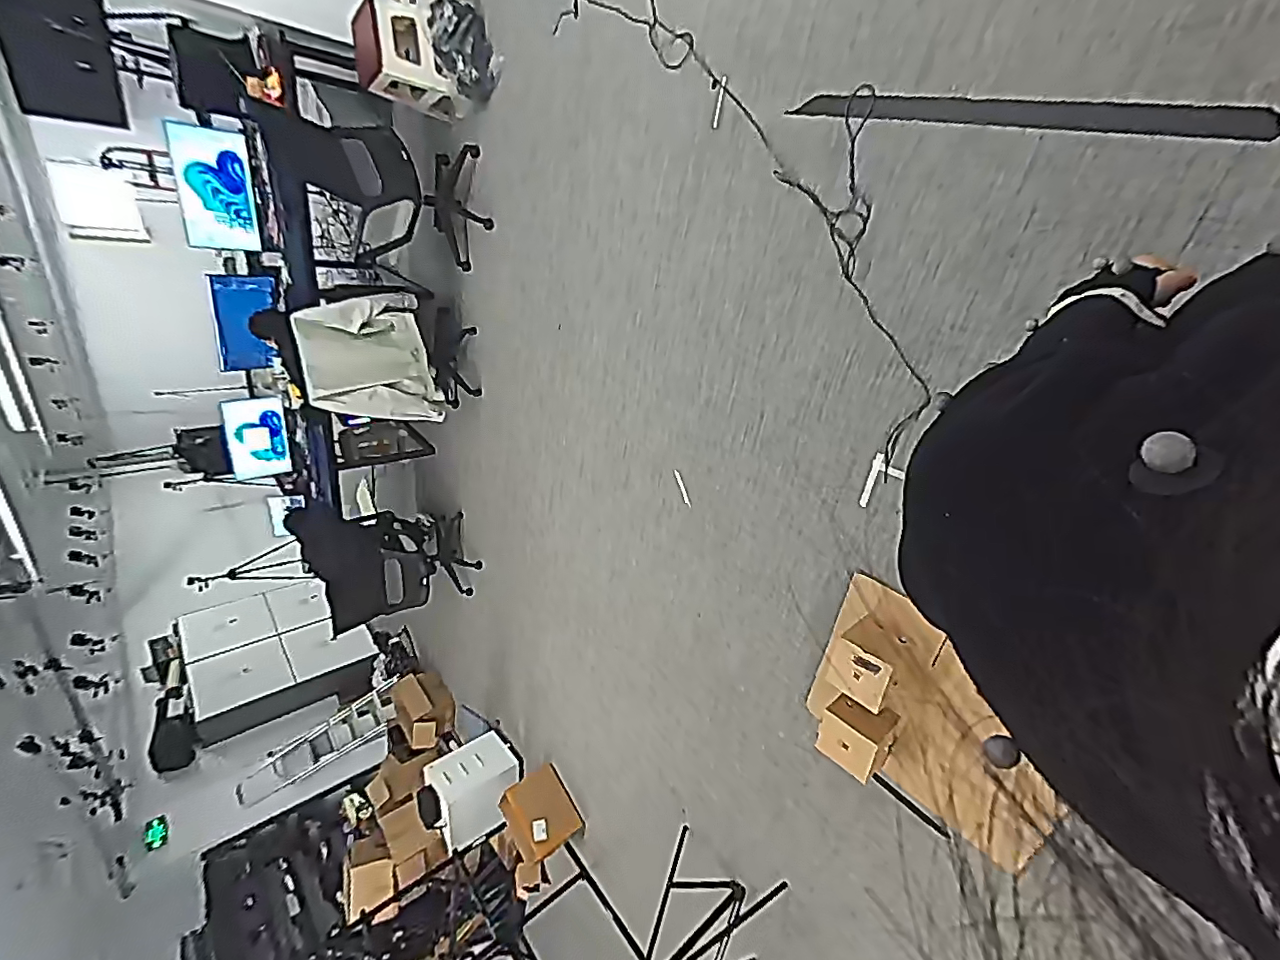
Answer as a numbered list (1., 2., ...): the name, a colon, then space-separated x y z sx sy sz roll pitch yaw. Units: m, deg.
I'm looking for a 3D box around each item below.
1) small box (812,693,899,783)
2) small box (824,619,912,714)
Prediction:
1. small box: 0.673 0.787 1.689 0.179 0.176 0.168 26 122 41
2. small box: 0.679 0.542 1.602 0.168 0.176 0.179 28 122 41
